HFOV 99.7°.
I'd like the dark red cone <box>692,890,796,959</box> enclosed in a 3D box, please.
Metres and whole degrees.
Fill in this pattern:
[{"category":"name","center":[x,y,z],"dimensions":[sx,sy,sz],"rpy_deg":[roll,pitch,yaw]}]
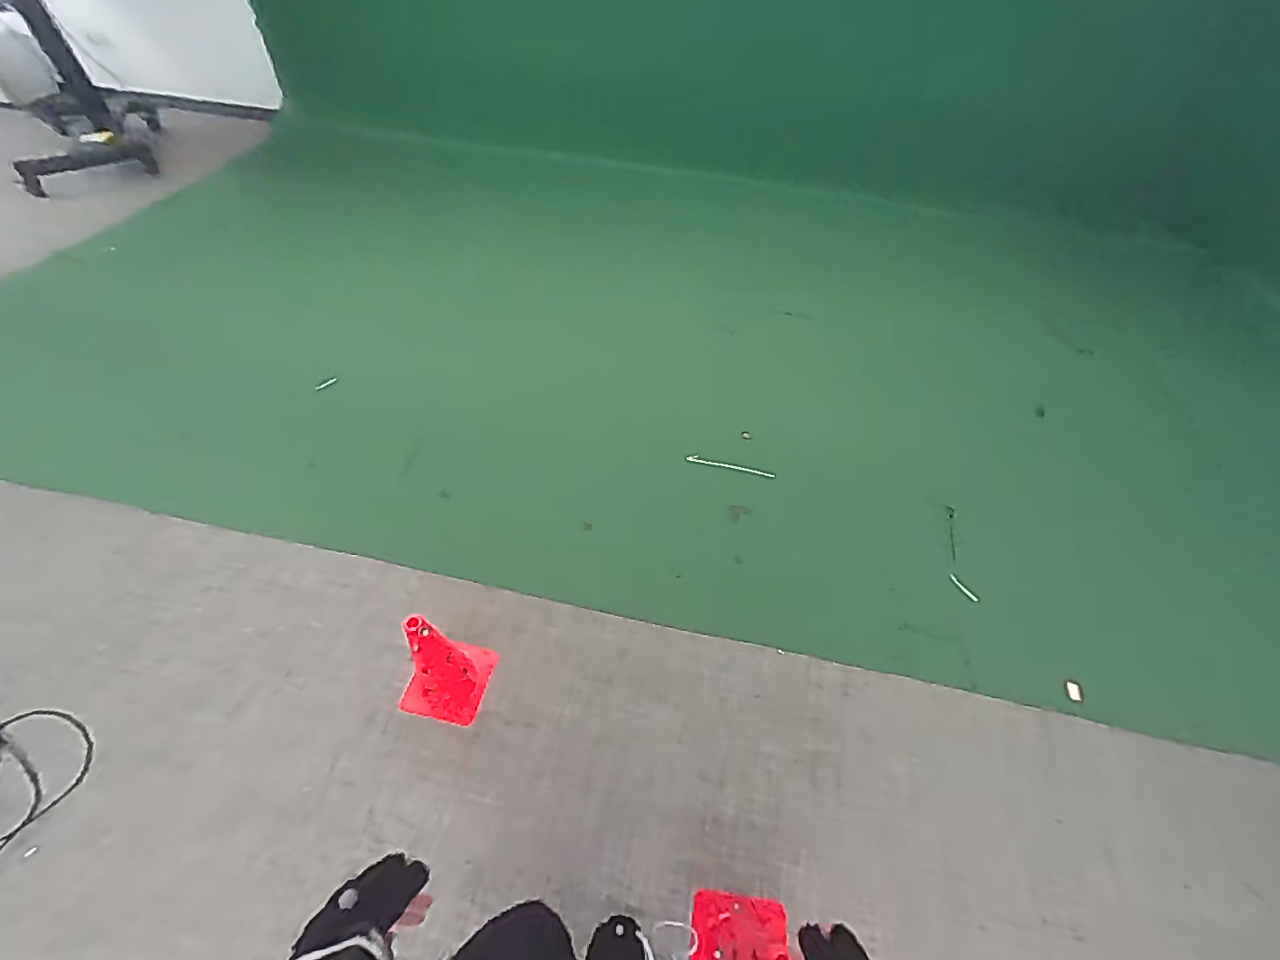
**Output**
[{"category":"dark red cone","center":[0.211,0.847,0.959],"dimensions":[0.202,0.394,0.201],"rpy_deg":[7,49,2]}]

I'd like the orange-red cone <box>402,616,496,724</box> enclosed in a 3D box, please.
[{"category":"orange-red cone","center":[-0.497,0.422,1.300],"dimensions":[0.198,0.360,0.199],"rpy_deg":[11,52,7]}]
